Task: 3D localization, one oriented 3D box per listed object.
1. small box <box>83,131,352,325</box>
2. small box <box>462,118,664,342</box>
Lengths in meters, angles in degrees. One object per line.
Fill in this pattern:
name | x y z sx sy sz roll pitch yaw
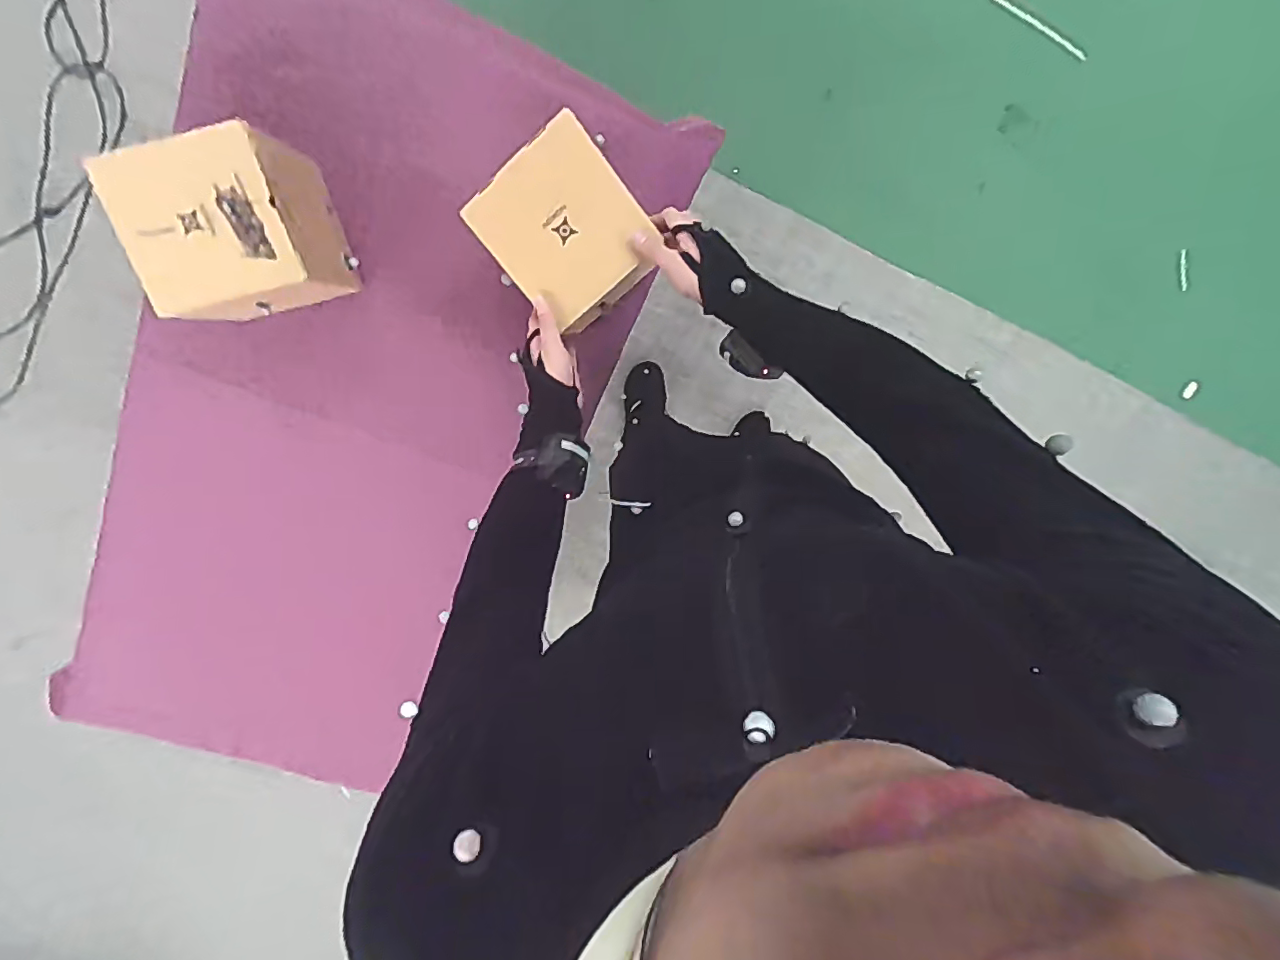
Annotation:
small box | -0.484 -0.292 0.661 0.179 0.176 0.168 -15 106 -1
small box | -0.080 -0.297 0.682 0.168 0.176 0.179 -37 100 12
